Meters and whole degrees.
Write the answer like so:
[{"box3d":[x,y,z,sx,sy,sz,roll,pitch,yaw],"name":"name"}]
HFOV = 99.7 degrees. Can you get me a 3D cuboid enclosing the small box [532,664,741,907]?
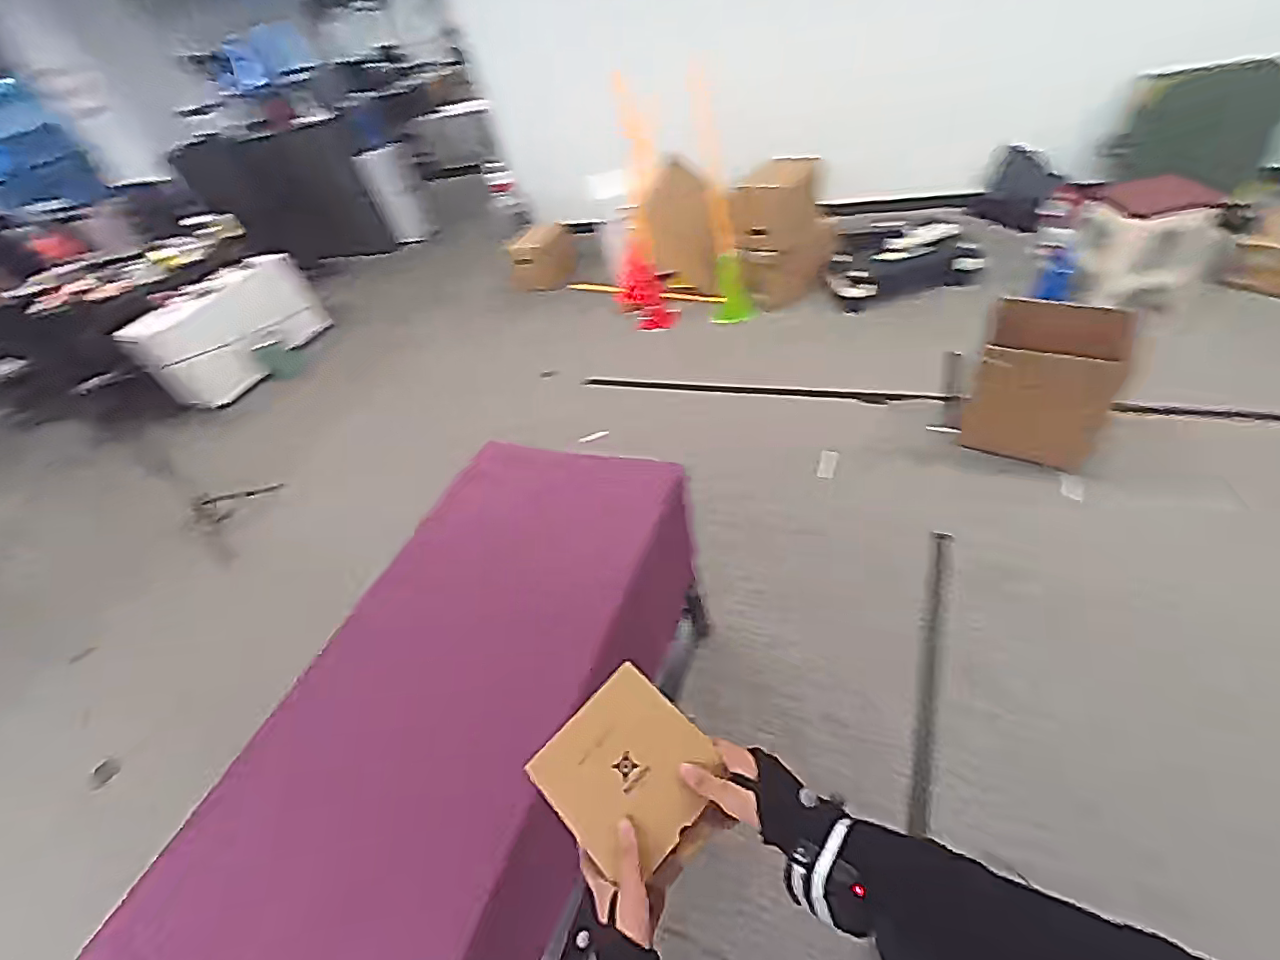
[{"box3d":[0.006,0.361,0.648,0.168,0.176,0.179,-41,55,-20],"name":"small box"}]
